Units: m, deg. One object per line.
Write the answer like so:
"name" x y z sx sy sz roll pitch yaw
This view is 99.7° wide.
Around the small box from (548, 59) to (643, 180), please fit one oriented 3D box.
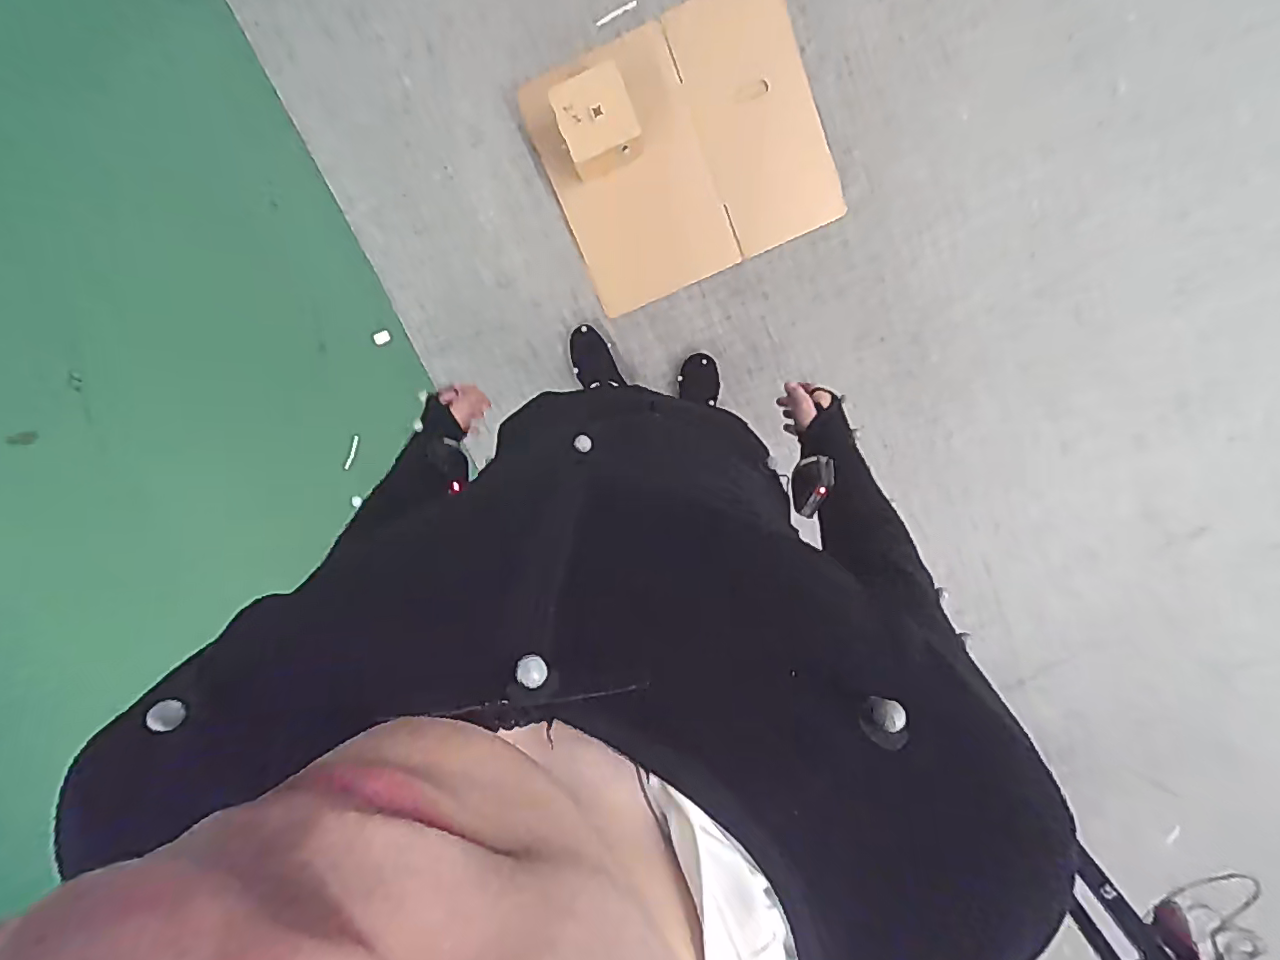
"small box" -0.102 -0.864 1.313 0.179 0.176 0.168 -20 104 8
